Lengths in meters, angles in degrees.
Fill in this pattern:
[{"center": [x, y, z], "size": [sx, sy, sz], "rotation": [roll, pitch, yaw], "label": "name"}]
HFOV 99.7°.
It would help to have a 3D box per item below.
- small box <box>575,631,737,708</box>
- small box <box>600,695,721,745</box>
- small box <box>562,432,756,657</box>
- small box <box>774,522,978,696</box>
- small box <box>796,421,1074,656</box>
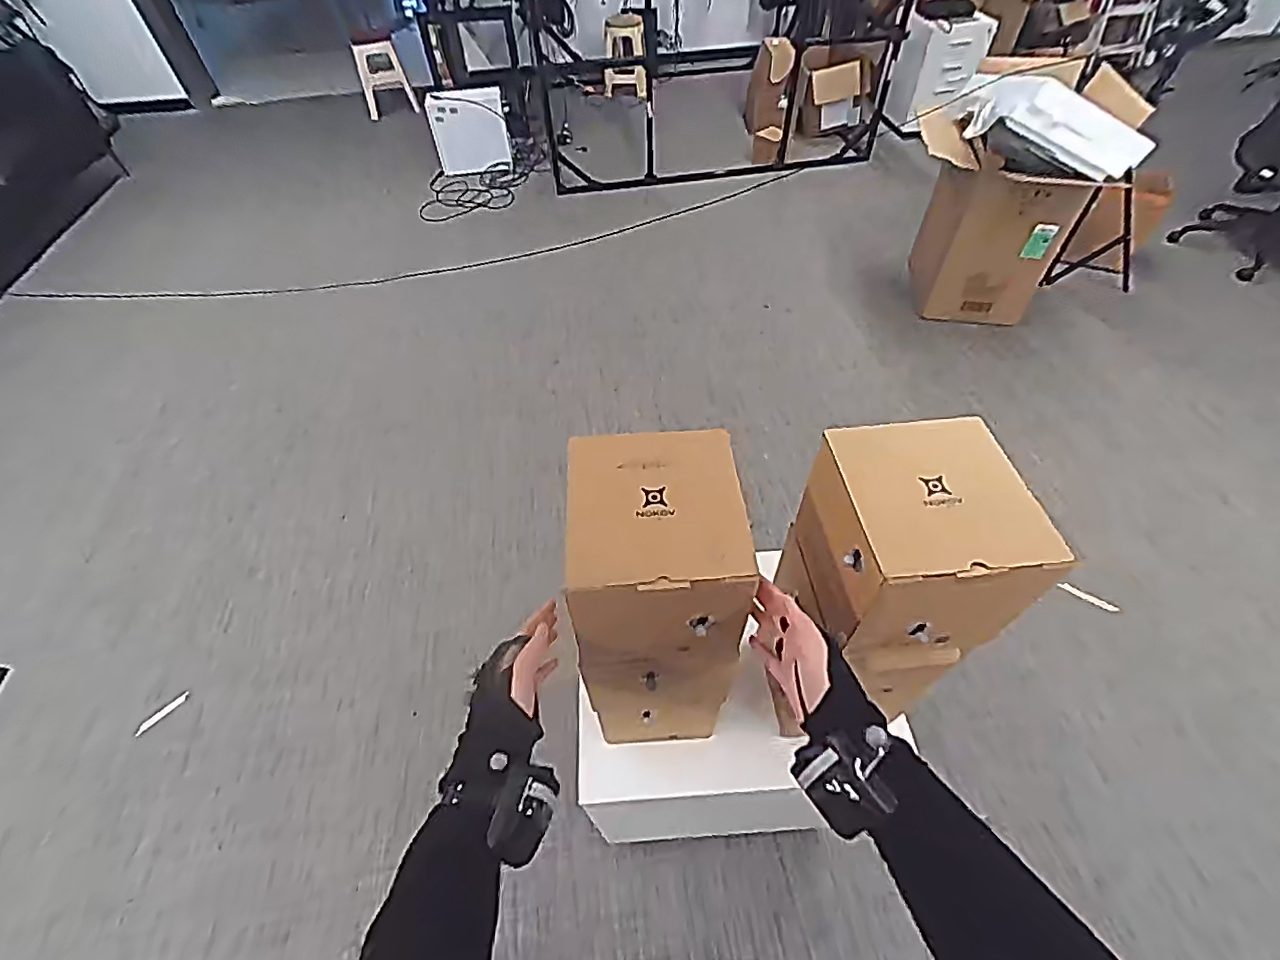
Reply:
[{"center": [0.018, 0.180, 0.684], "size": [0.179, 0.176, 0.168], "rotation": [-3, 52, -1], "label": "small box"}, {"center": [0.024, 0.280, 0.815], "size": [0.168, 0.176, 0.179], "rotation": [-3, 50, 0], "label": "small box"}, {"center": [0.015, 0.073, 0.561], "size": [0.168, 0.176, 0.179], "rotation": [-3, 50, -1], "label": "small box"}, {"center": [0.279, 0.163, 0.688], "size": [0.168, 0.176, 0.179], "rotation": [-5, 51, -1], "label": "small box"}, {"center": [0.275, 0.062, 0.560], "size": [0.168, 0.176, 0.179], "rotation": [-5, 52, -2], "label": "small box"}]
